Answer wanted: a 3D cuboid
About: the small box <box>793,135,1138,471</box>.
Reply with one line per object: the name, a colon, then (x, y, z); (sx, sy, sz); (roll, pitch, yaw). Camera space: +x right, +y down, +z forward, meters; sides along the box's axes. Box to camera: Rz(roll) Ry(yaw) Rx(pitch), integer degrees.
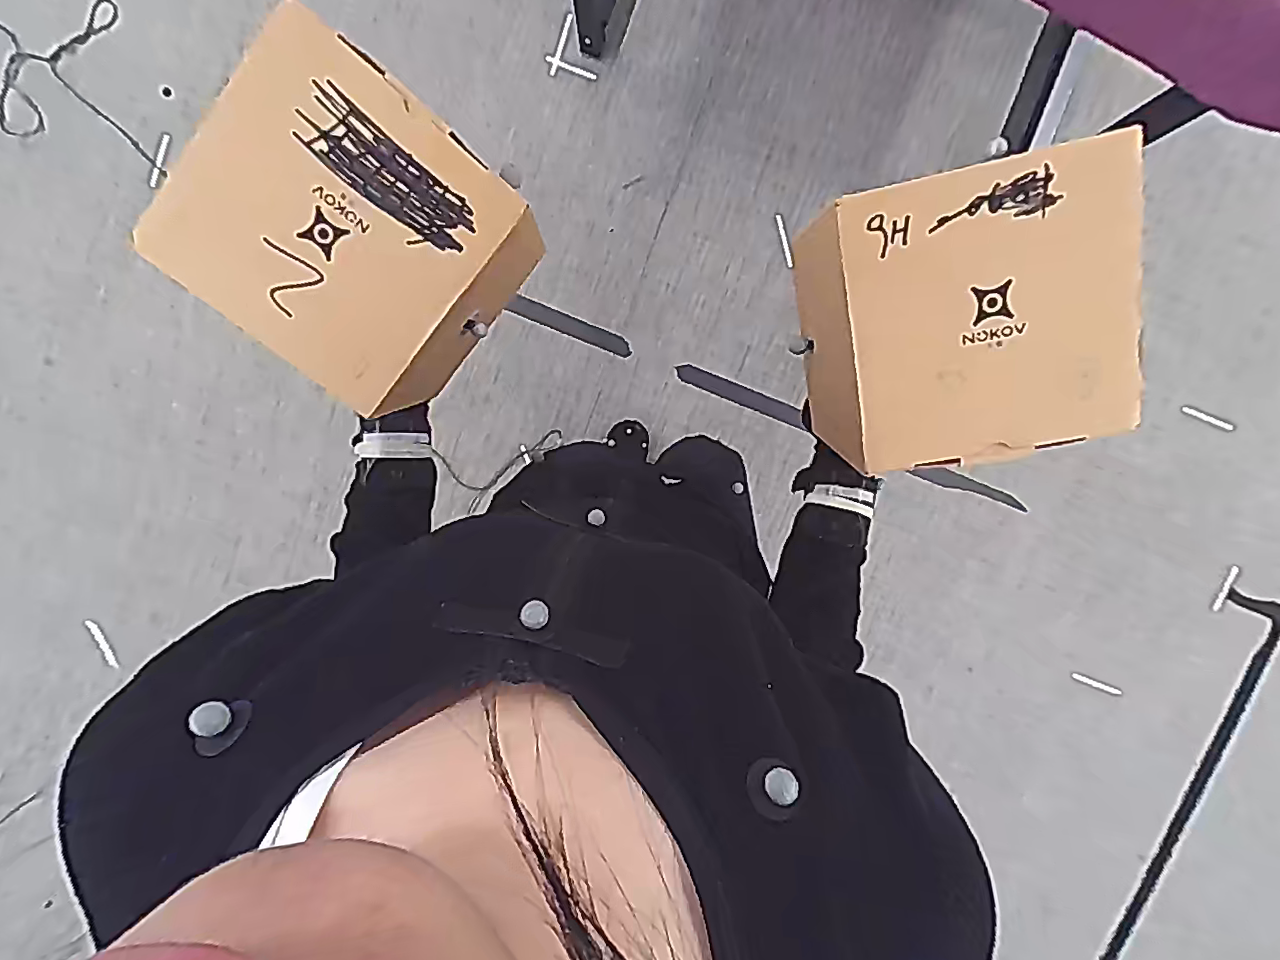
small box: (0.220, -0.122, 0.411); (0.168, 0.176, 0.179); (-10, 105, 8)
